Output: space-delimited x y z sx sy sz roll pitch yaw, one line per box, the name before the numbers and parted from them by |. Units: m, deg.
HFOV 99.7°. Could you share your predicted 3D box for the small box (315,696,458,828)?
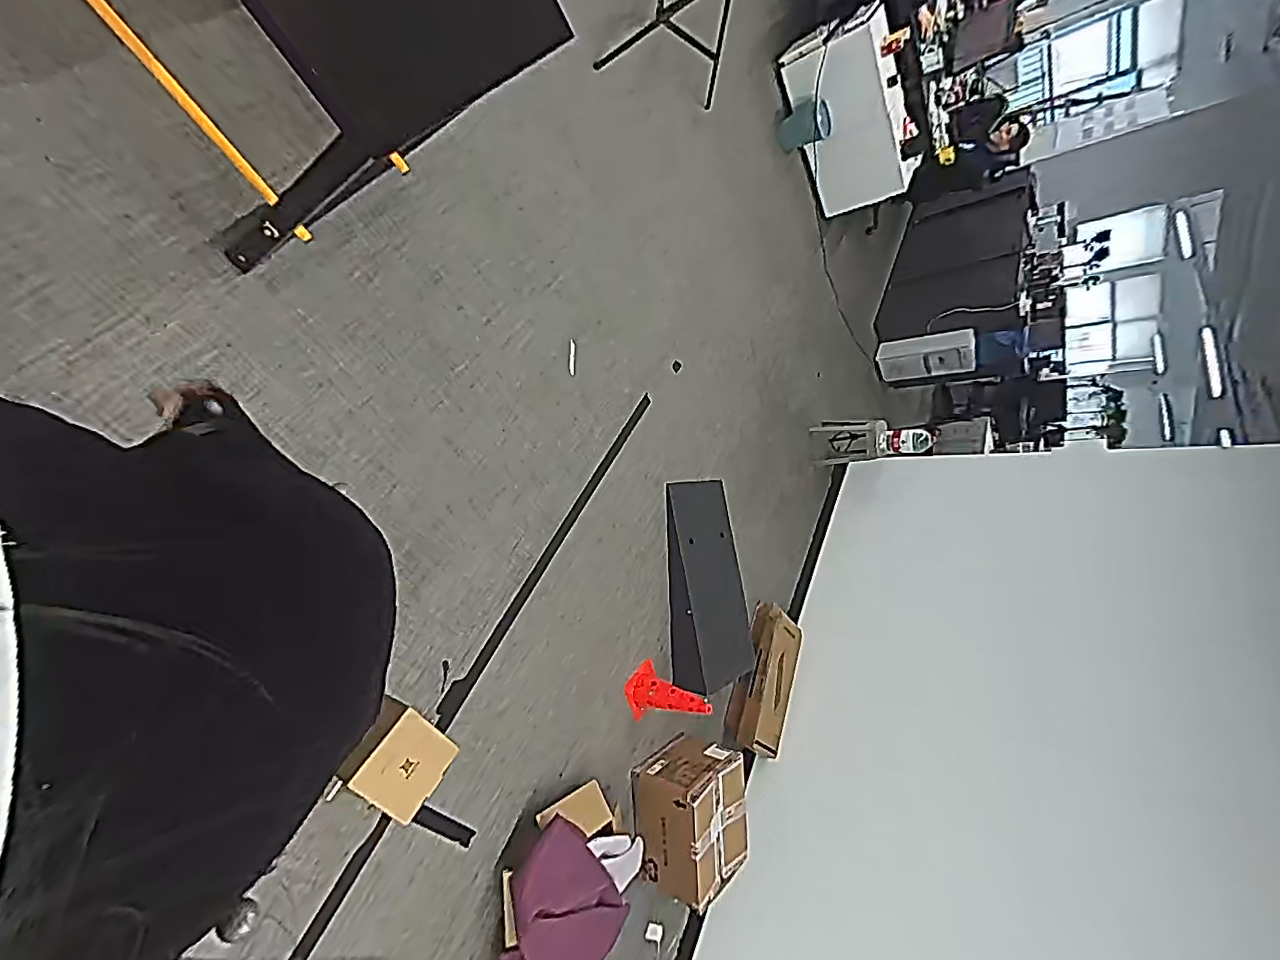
small box | -0.526 0.577 1.127 0.168 0.176 0.179 -55 128 -36
